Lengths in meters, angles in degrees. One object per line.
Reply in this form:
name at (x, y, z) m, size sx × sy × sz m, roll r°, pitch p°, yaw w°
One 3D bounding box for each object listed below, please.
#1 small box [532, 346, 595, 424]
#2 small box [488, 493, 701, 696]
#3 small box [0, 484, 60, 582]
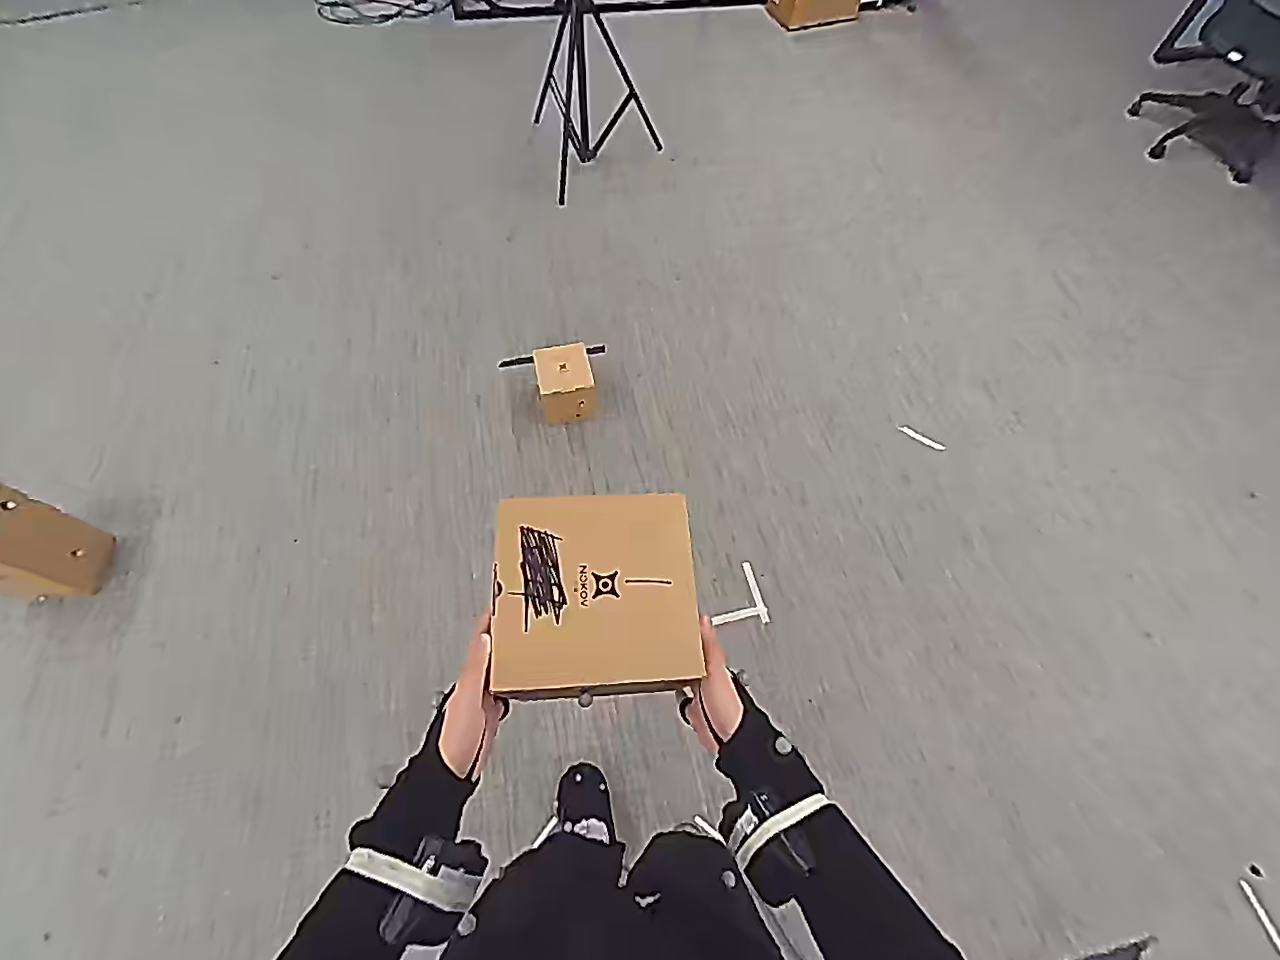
small box at (-0.239, -0.294, 1.714) m, size 0.168 × 0.176 × 0.179 m, roll -12°, pitch 62°, yaw -9°
small box at (-0.044, 0.121, 0.541) m, size 0.179 × 0.176 × 0.168 m, roll -2°, pitch 66°, yaw -5°
small box at (-1.515, 0.128, 1.243) m, size 0.168 × 0.176 × 0.179 m, roll -6°, pitch 63°, yaw -5°
